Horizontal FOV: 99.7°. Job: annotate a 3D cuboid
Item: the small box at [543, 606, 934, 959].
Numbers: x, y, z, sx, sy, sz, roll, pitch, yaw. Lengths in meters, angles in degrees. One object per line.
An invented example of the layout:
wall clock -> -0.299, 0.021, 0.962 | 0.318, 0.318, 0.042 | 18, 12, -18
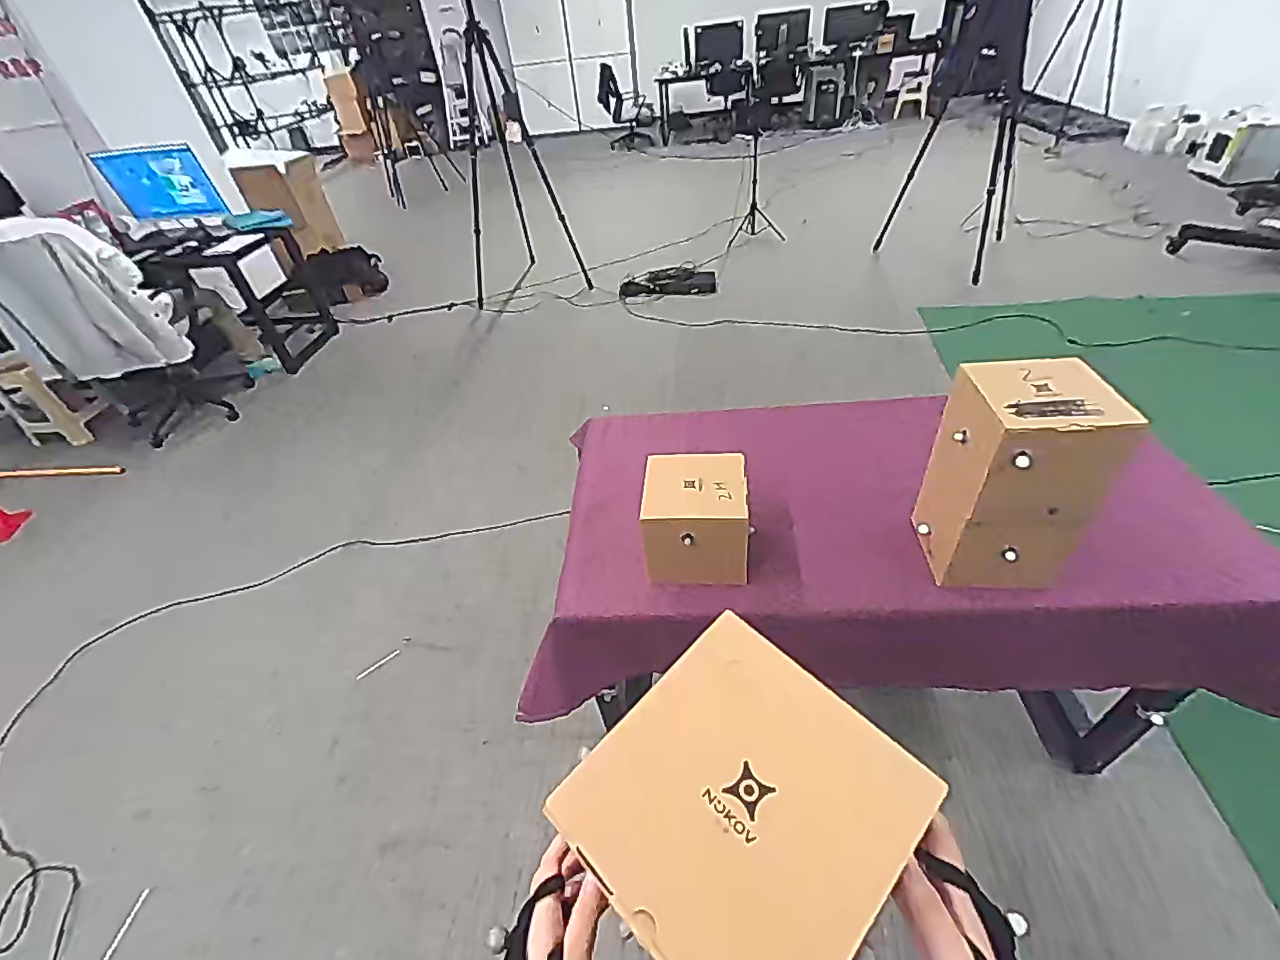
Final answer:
small box -> 0.061, 0.231, 0.379 | 0.168, 0.176, 0.179 | 36, 61, 29

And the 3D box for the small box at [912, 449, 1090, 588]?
small box -> 0.580, 0.065, 0.897 | 0.179, 0.176, 0.168 | -2, 41, 9

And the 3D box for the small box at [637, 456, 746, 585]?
small box -> 0.098, 0.074, 0.967 | 0.179, 0.176, 0.168 | -1, 41, 8
